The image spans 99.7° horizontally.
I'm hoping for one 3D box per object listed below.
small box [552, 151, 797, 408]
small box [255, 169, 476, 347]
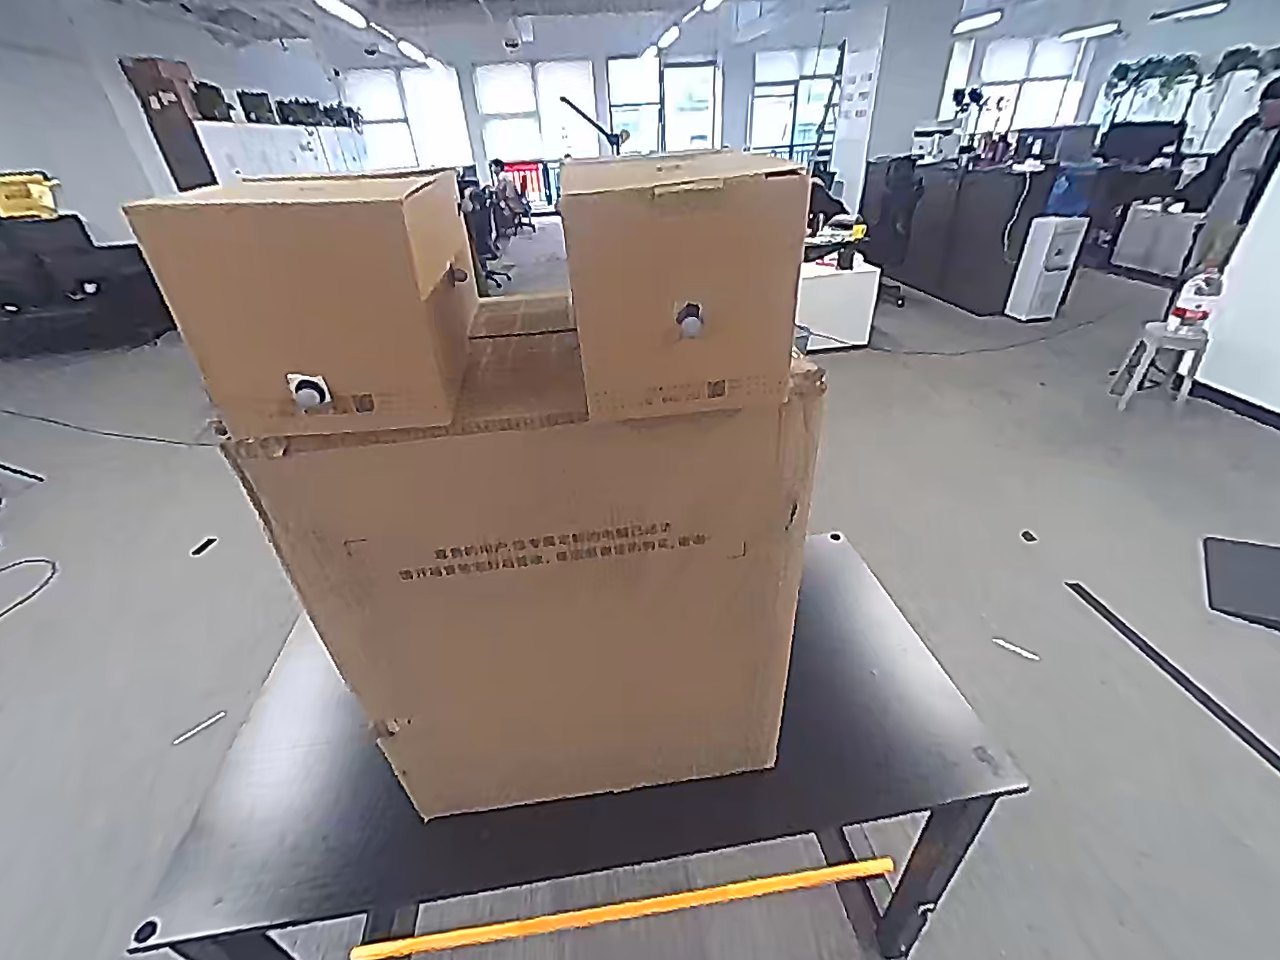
[{"bbox_3d":[0.023,-0.170,0.462,0.168,0.176,0.179,-7,34,-2],"label":"small box"},{"bbox_3d":[-0.295,-0.262,0.630,0.168,0.176,0.179,-7,31,-7],"label":"small box"}]
